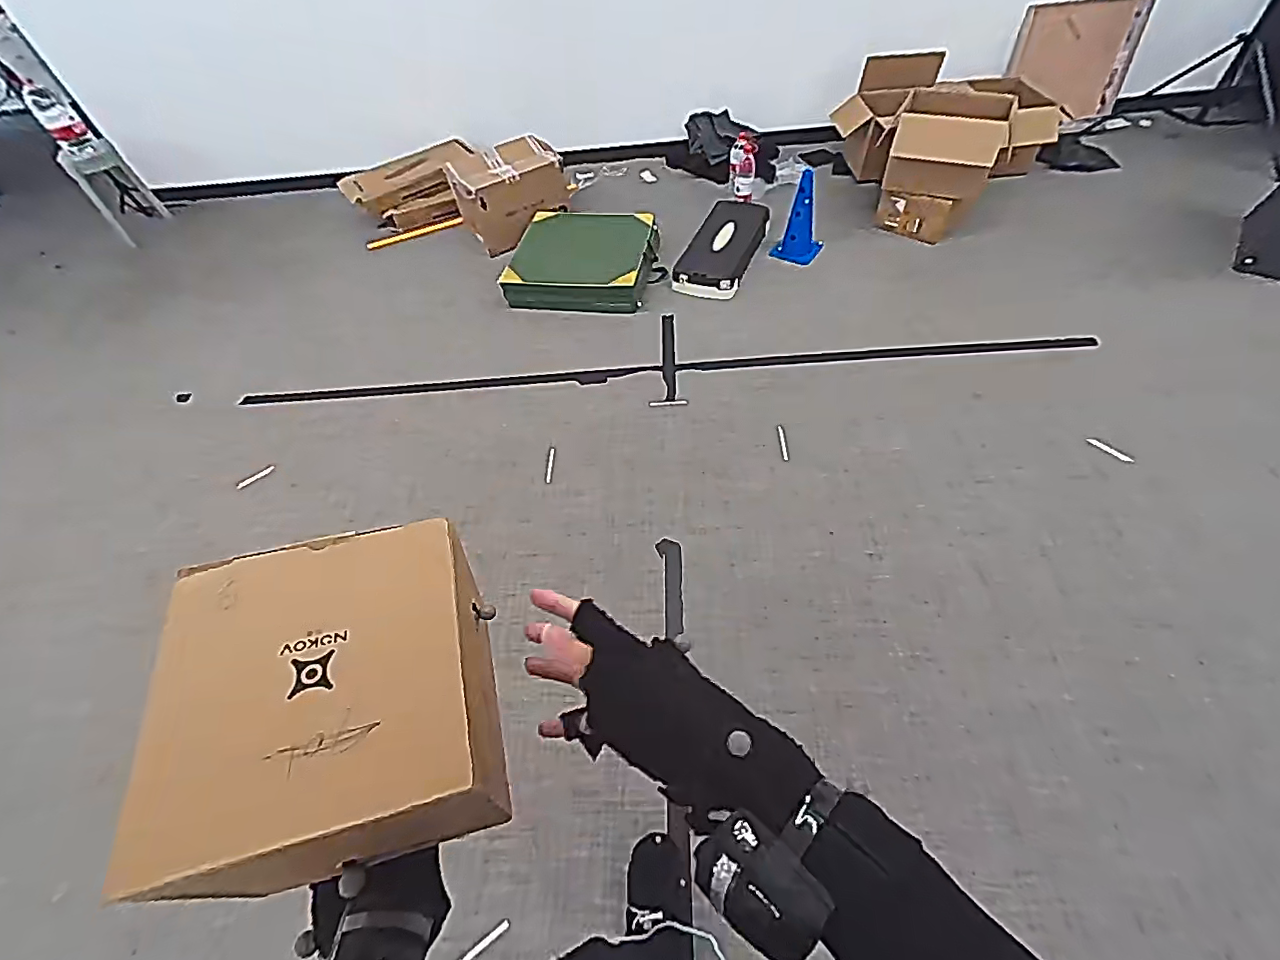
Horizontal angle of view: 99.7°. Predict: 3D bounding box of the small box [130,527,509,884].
[{"bbox_3d":[-0.195,0.162,0.387,0.168,0.176,0.179,-11,55,-12],"label":"small box"}]
